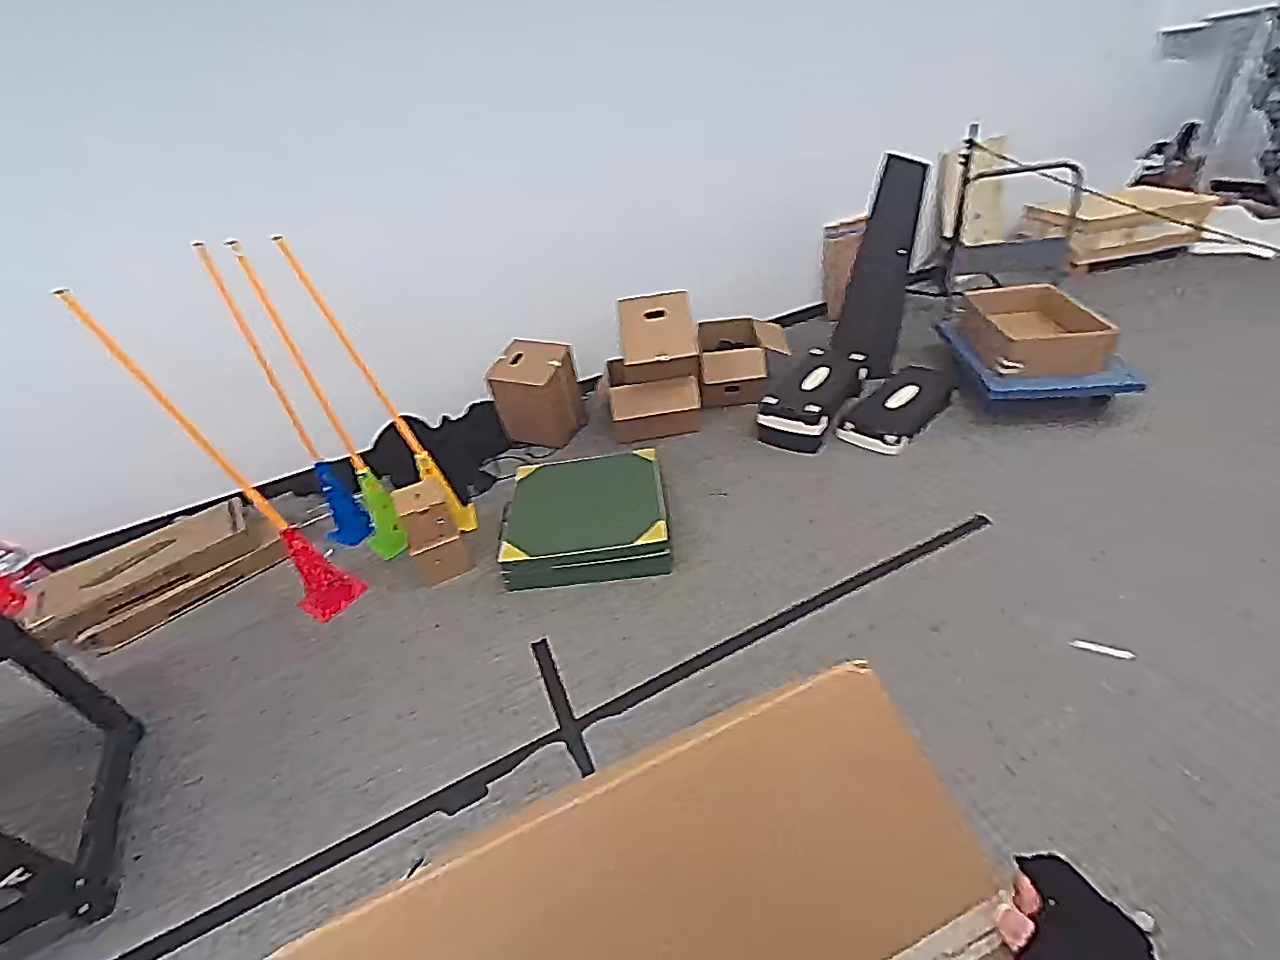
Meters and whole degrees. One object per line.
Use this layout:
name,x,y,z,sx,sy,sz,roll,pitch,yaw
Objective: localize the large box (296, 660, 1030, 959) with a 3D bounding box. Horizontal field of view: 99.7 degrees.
large box,0.033,0.392,0.428,0.408,0.320,0.320,-22,68,-11
